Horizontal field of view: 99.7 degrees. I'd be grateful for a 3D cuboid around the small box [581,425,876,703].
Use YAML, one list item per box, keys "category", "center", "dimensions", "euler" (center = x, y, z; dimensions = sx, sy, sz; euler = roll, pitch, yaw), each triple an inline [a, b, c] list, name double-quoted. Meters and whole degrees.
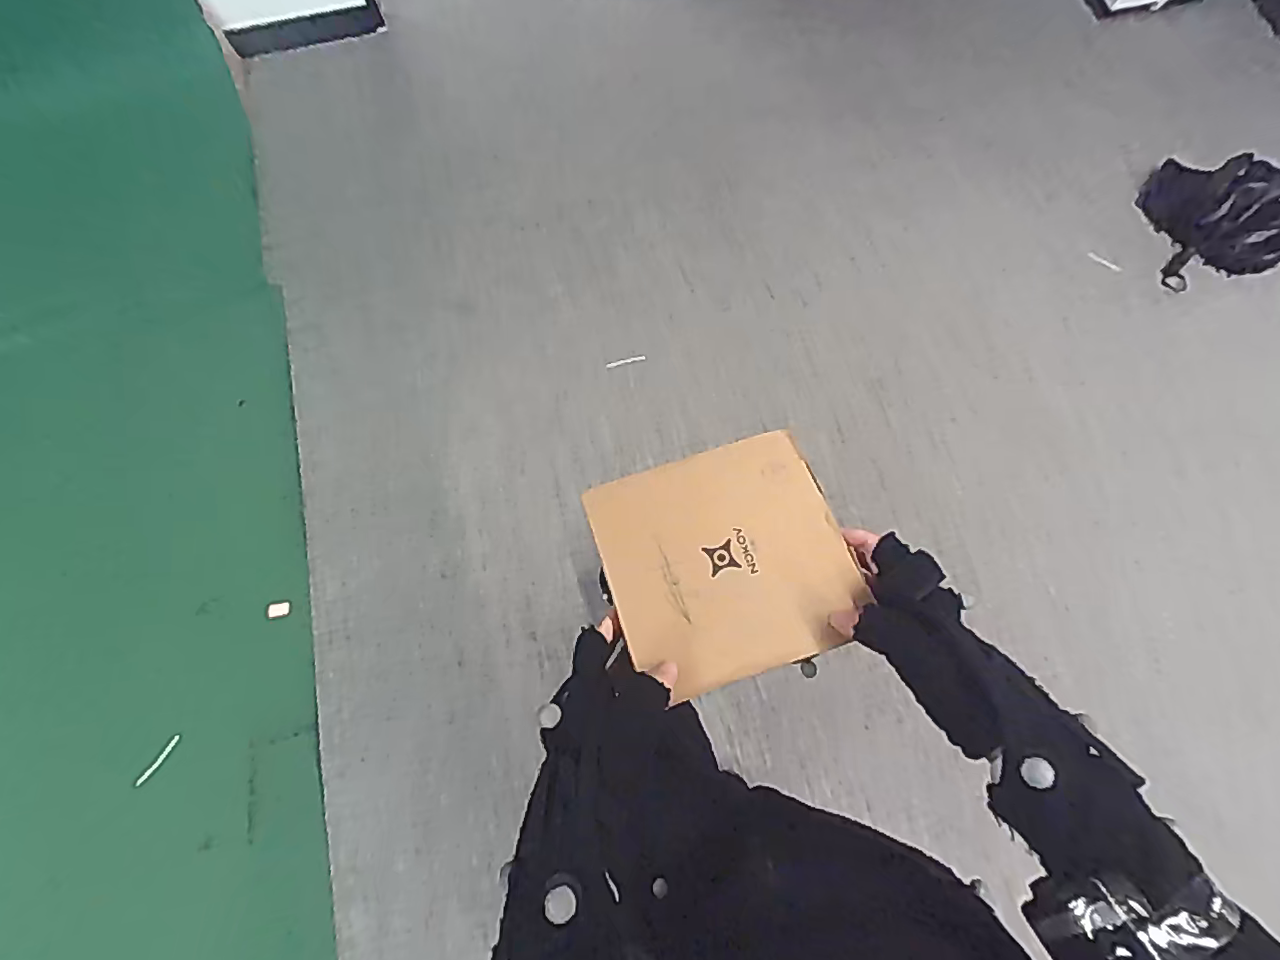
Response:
- category: "small box"
  center: [0.062, 0.081, 0.471]
  dimensions: [0.179, 0.176, 0.168]
  euler: [-19, 68, -5]
